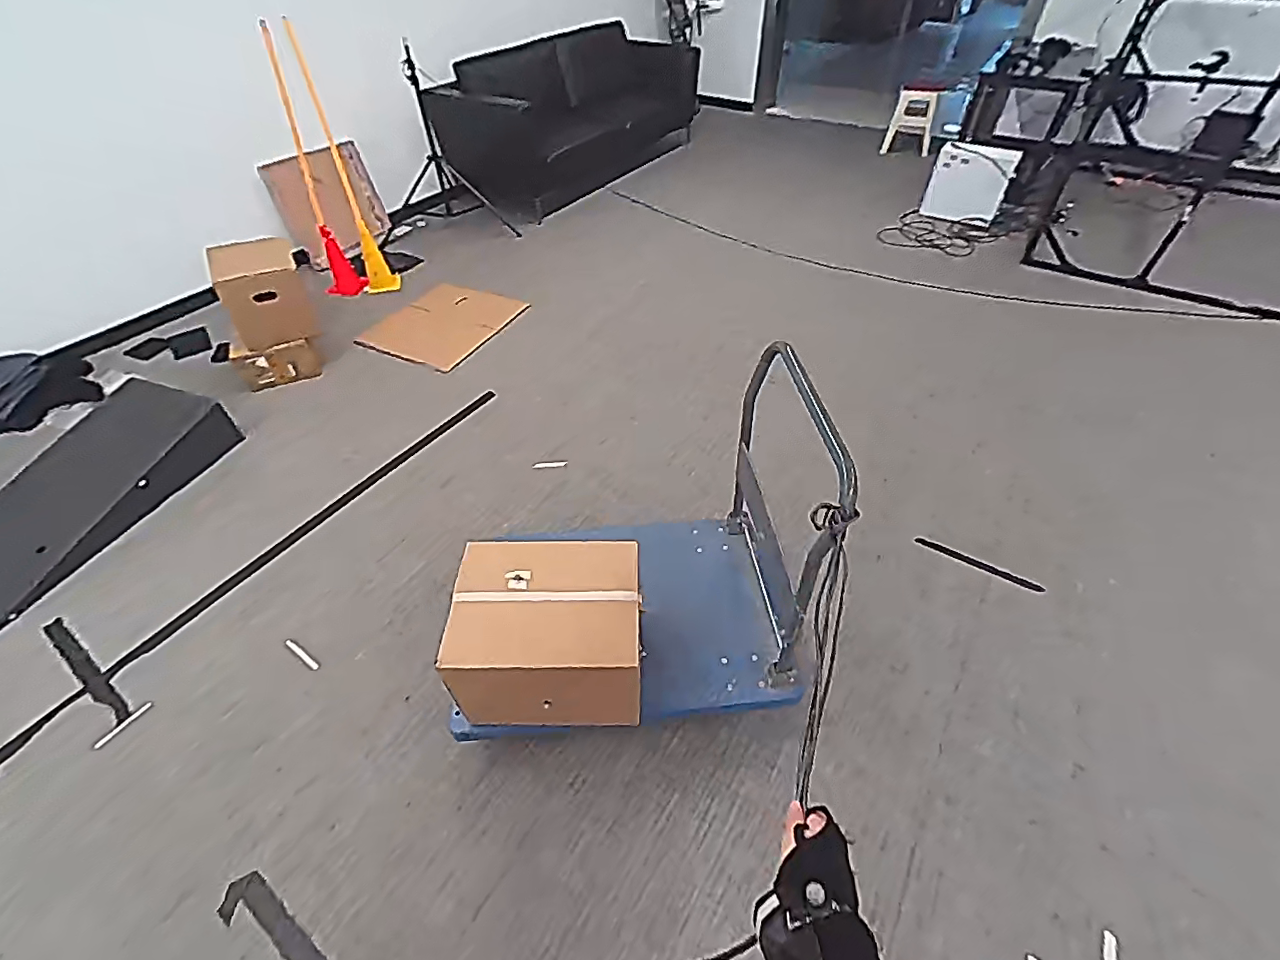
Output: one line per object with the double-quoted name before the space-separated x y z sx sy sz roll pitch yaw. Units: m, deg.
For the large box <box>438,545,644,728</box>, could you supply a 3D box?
"large box" -0.197 0.369 1.264 0.408 0.320 0.320 -1 45 0
